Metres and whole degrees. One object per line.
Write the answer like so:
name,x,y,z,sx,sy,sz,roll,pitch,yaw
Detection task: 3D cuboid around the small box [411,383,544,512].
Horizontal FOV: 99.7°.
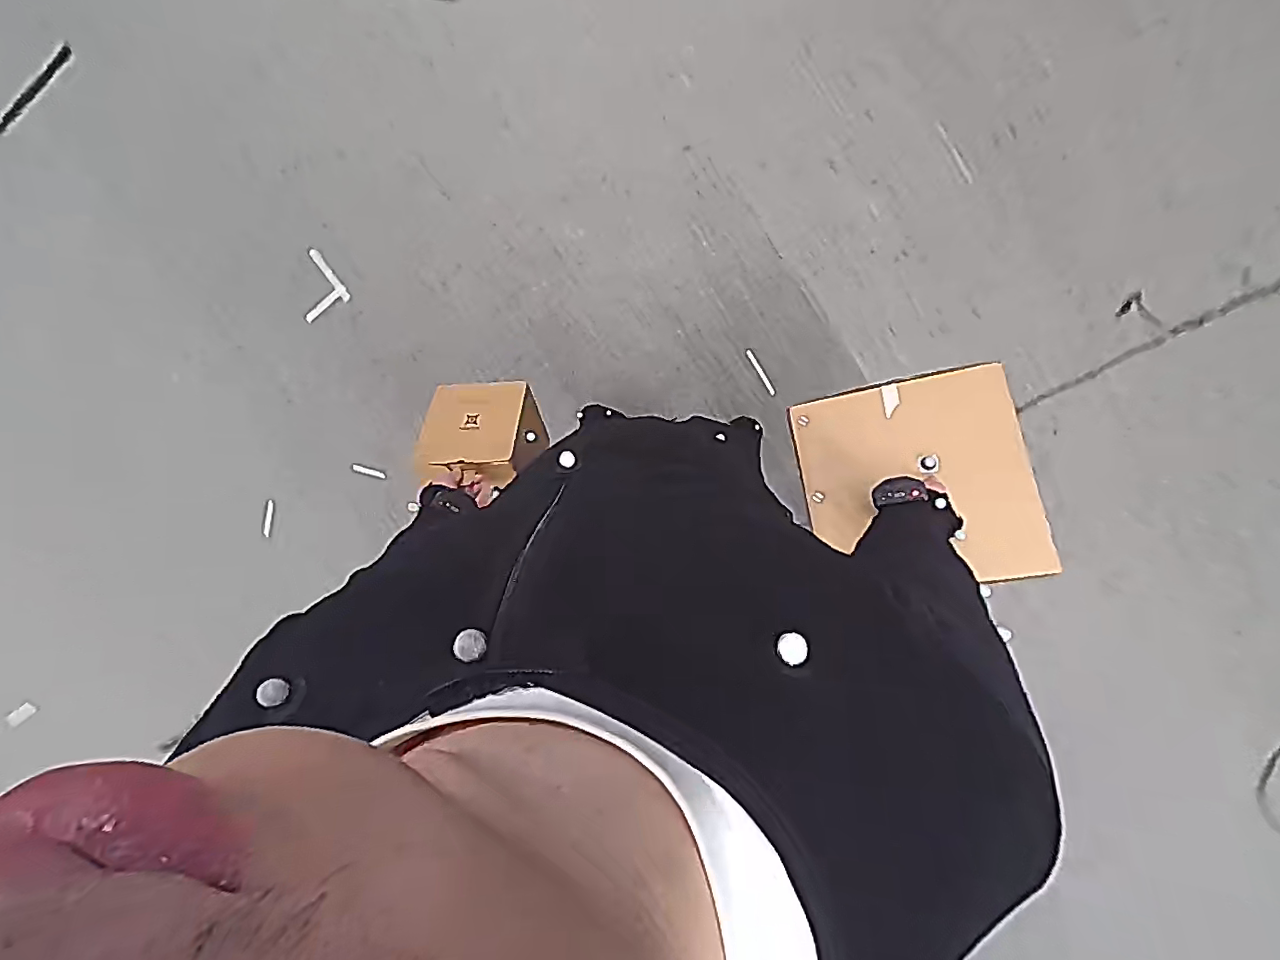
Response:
small box,-0.278,-0.052,0.971,0.168,0.176,0.179,-1,57,6
